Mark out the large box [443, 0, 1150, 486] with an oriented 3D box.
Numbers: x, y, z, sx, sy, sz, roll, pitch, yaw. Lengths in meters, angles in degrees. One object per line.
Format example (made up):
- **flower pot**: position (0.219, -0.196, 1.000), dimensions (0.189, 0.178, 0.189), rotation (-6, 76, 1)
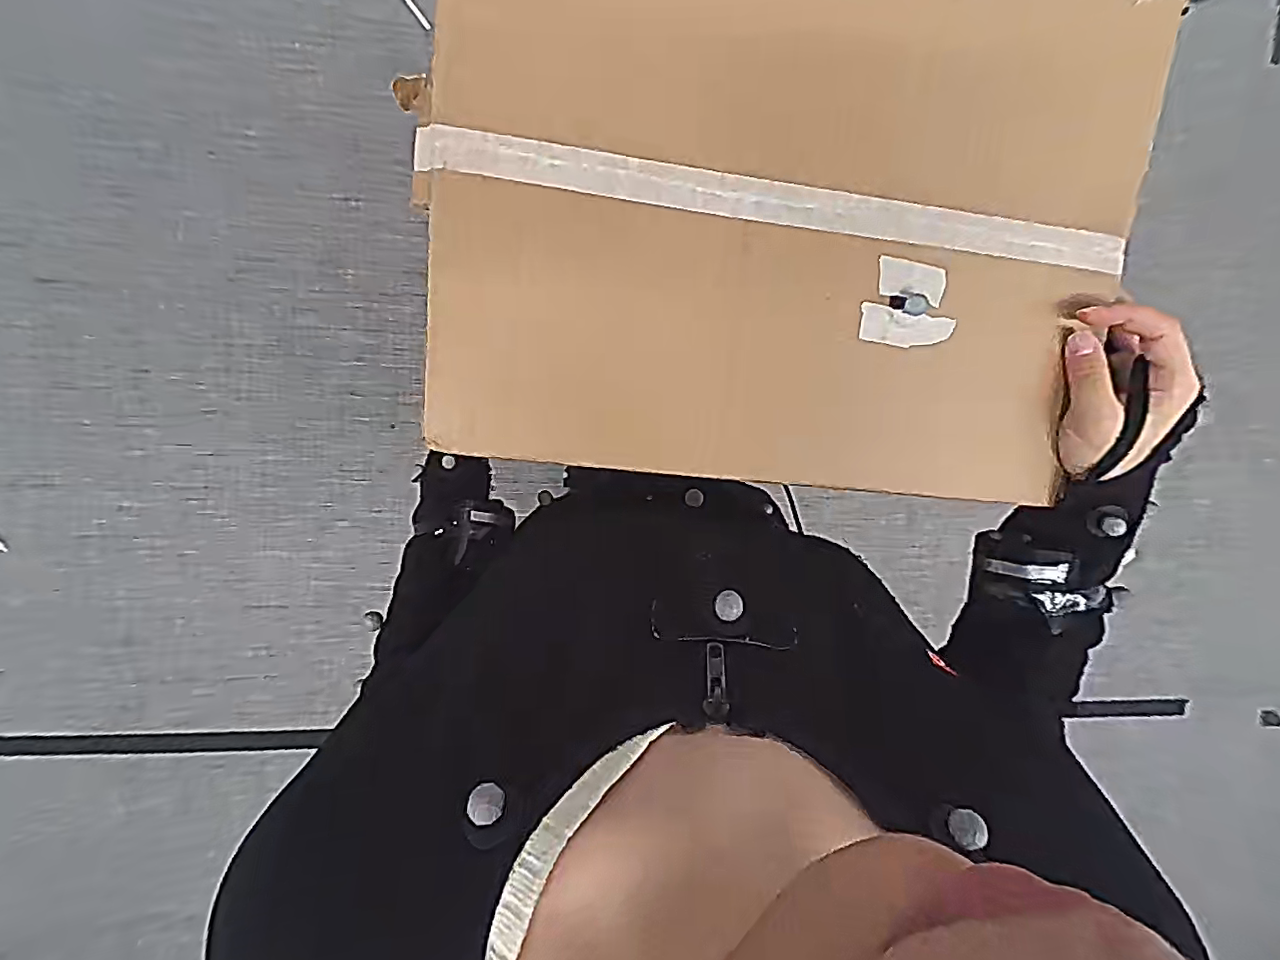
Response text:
- **large box**: position (0.072, -0.184, 0.457), dimensions (0.408, 0.320, 0.320), rotation (5, 101, -10)
